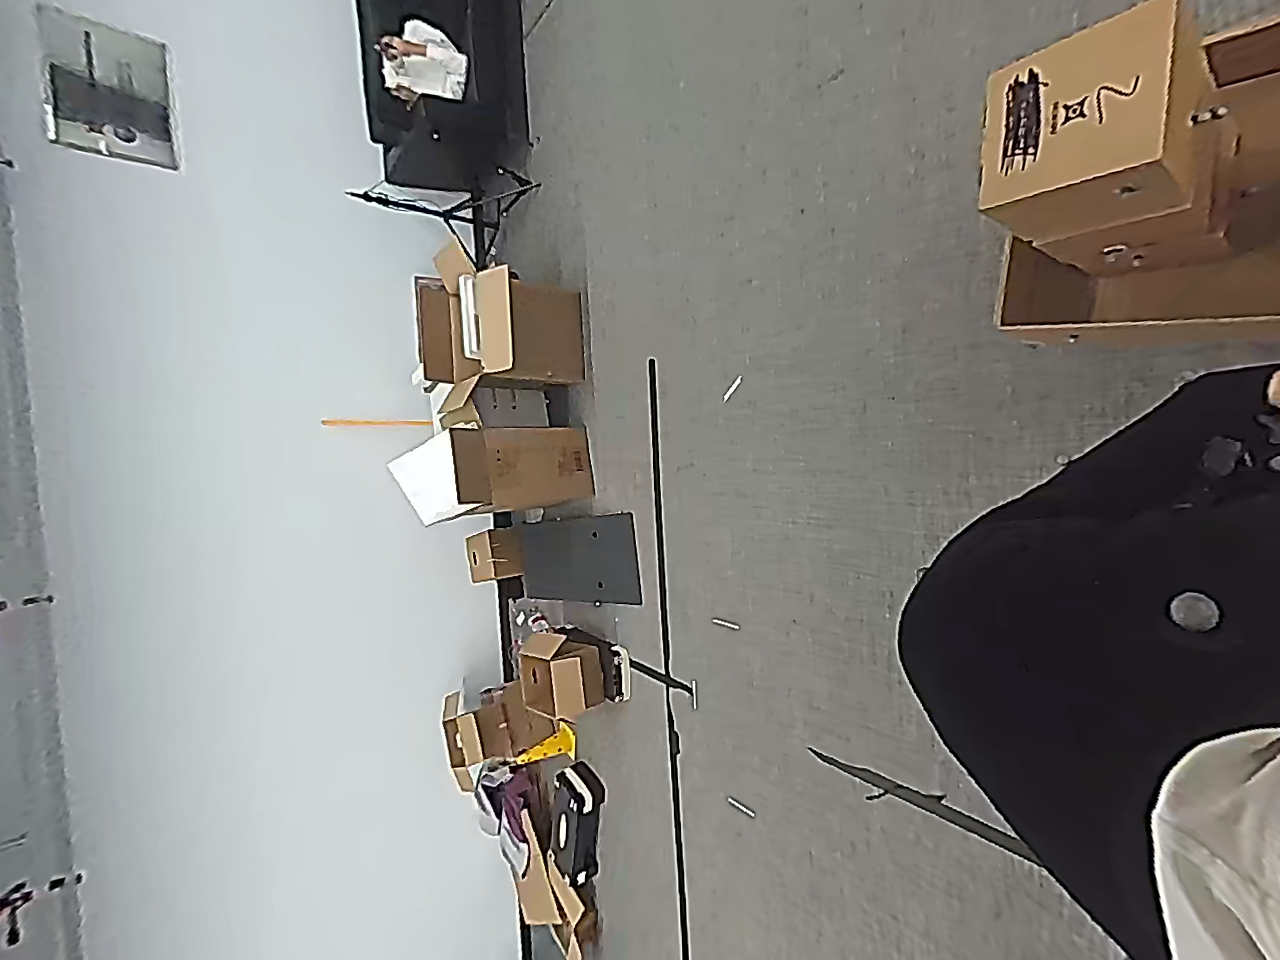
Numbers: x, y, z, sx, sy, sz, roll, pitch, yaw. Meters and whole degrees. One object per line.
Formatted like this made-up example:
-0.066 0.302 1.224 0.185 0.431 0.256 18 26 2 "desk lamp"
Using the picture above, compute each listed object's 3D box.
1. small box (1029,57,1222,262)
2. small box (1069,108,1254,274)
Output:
0.678 -0.426 0.756 0.168 0.176 0.179 7 99 54 "small box"
0.814 -0.433 0.848 0.179 0.176 0.168 10 102 51 "small box"
